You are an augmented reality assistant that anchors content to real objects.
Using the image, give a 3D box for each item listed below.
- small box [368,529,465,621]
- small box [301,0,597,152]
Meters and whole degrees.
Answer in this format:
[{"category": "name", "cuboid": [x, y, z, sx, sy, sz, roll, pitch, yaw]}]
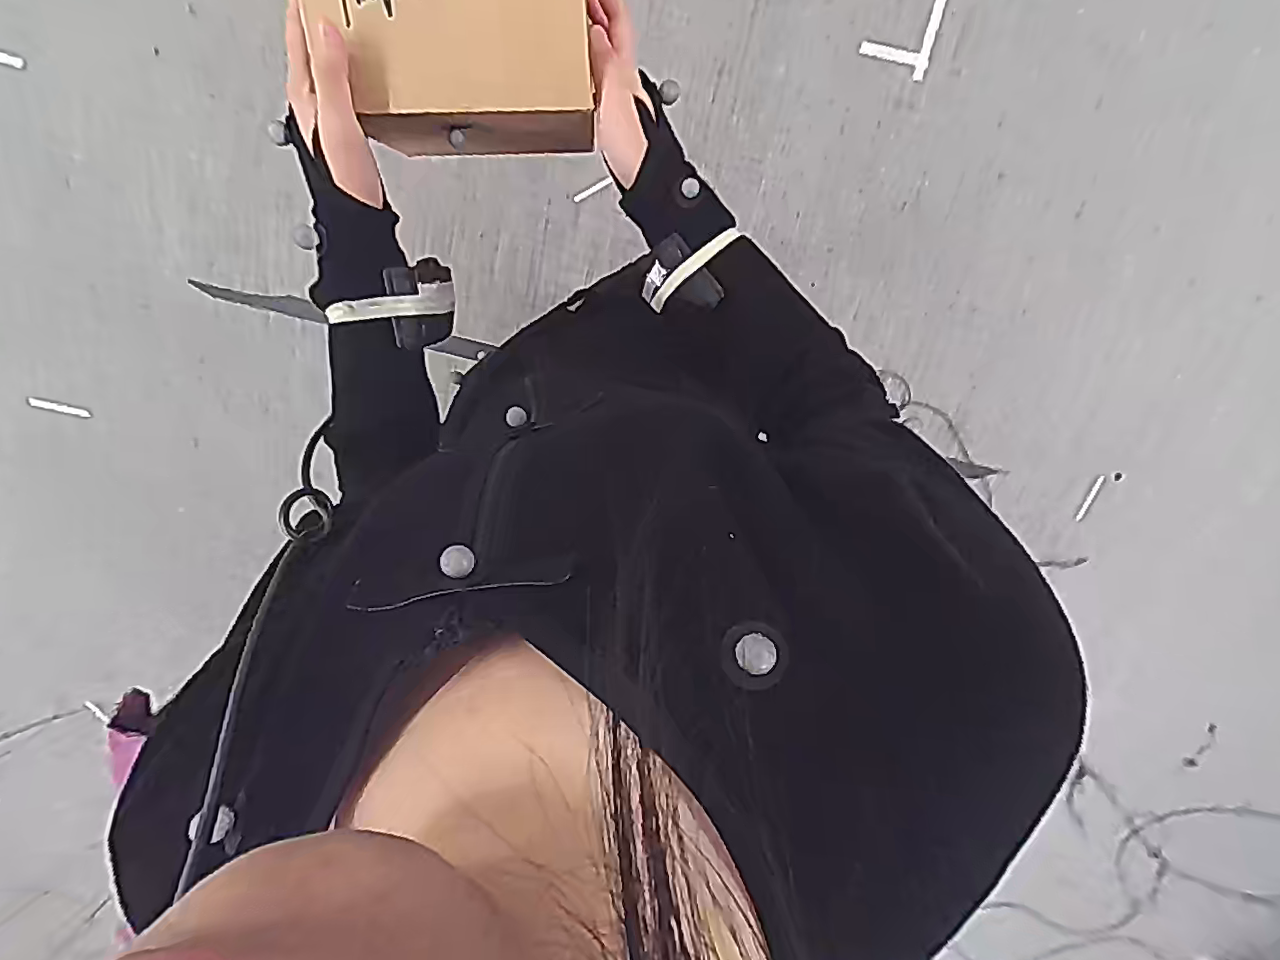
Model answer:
[{"category": "small box", "cuboid": [-0.629, 0.263, 1.541, 0.179, 0.176, 0.168, 28, 107, -12]}, {"category": "small box", "cuboid": [-0.122, -0.345, 0.390, 0.179, 0.176, 0.168, -3, 113, -4]}]
